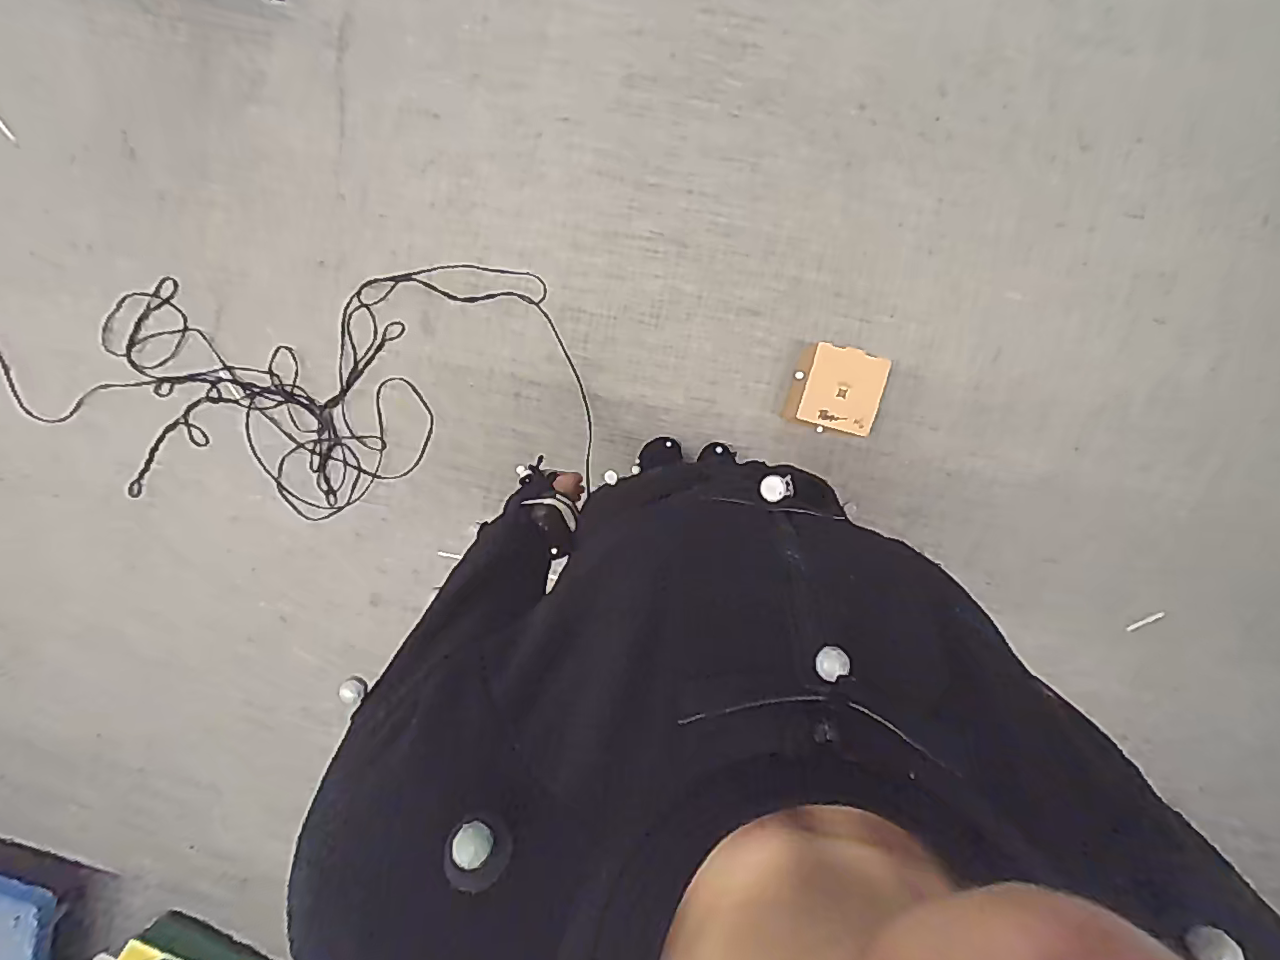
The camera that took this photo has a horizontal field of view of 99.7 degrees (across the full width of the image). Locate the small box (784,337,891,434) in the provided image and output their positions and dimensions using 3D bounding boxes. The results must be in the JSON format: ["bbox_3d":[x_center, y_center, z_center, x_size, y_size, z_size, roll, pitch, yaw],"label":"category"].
[{"bbox_3d":[0.447,-0.212,1.255,0.168,0.176,0.179,16,95,2],"label":"small box"}]
